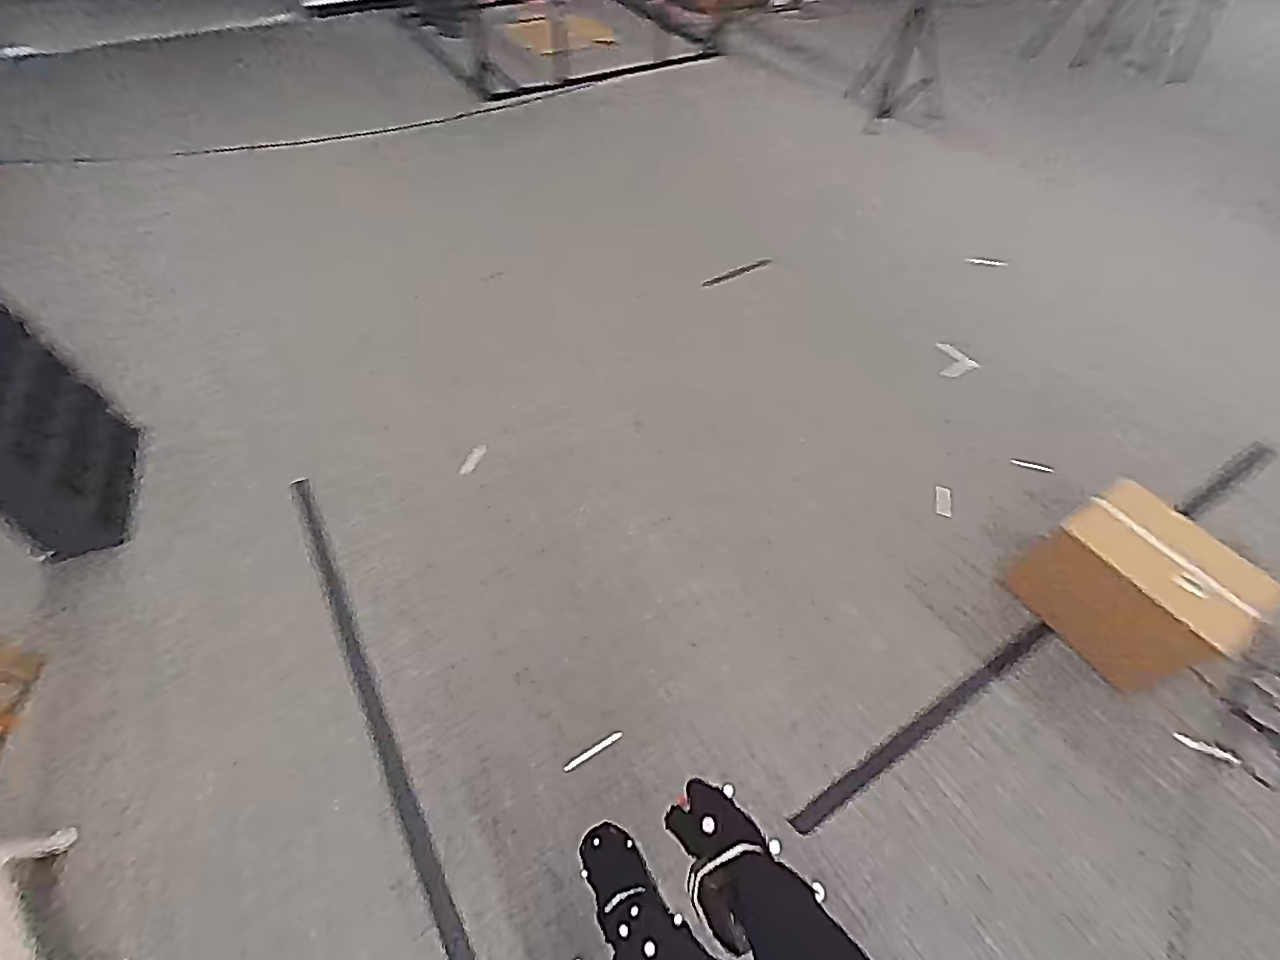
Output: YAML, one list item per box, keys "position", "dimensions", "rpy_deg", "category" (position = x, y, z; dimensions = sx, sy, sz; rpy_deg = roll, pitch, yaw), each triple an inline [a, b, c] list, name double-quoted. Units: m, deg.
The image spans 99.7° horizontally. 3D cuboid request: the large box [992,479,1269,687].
- position: [1.301, 0.279, 1.484]
  dimensions: [0.320, 0.320, 0.408]
  rpy_deg: [-26, 59, -20]
  category: "large box"
